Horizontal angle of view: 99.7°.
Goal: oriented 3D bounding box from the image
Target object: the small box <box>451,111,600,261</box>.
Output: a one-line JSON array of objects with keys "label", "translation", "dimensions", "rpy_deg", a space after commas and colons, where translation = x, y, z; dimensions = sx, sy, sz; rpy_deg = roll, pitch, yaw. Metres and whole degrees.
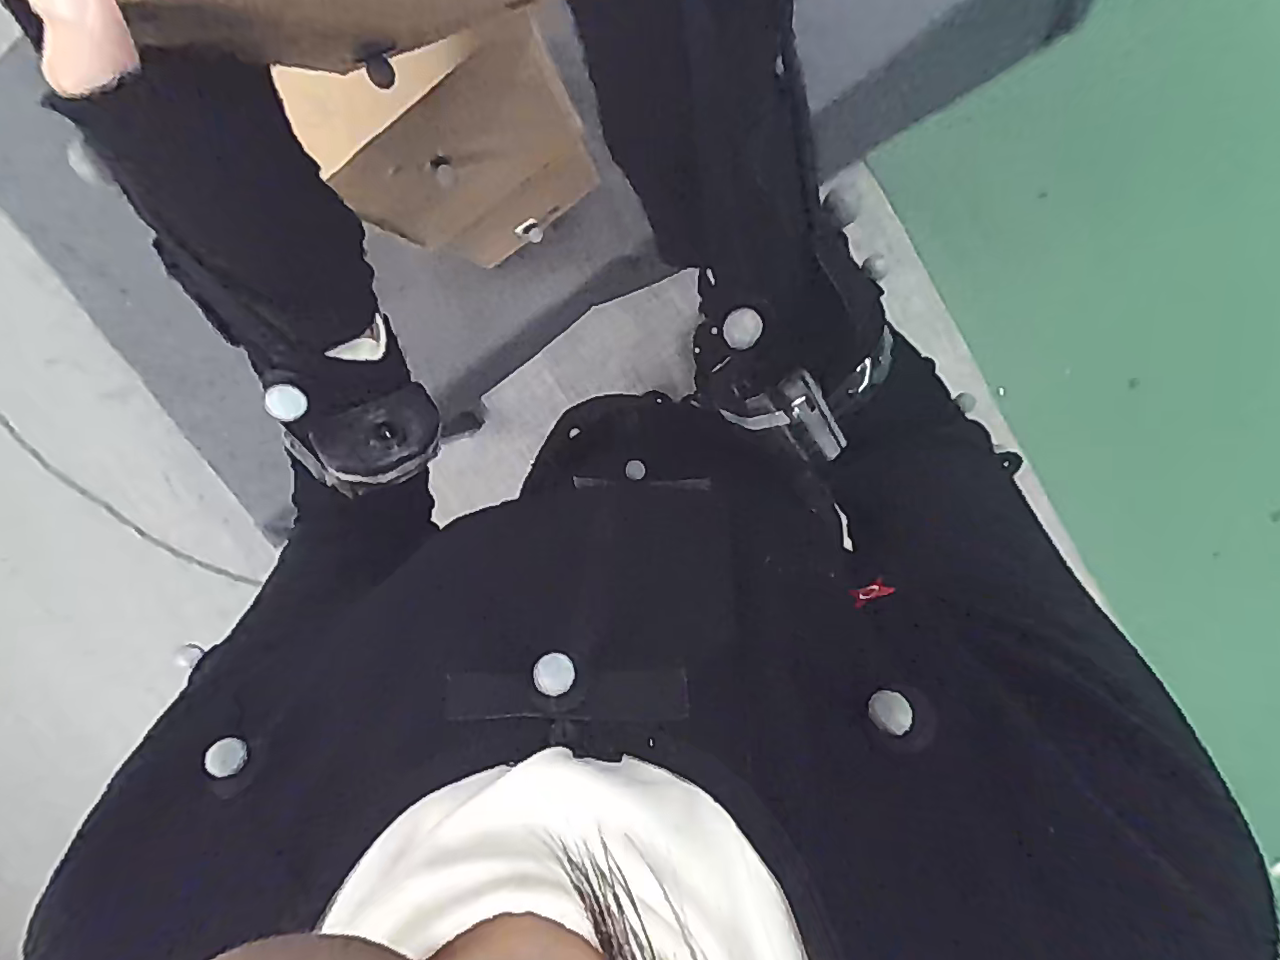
[{"label": "small box", "translation": [-0.163, -0.354, 0.550], "dimensions": [0.168, 0.176, 0.179], "rpy_deg": [-35, 97, 12]}]

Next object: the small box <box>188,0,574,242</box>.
[{"label": "small box", "translation": [-0.174, -0.309, 0.394], "dimensions": [0.179, 0.176, 0.168], "rpy_deg": [-35, 93, 11]}]

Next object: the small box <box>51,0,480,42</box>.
[{"label": "small box", "translation": [-0.097, -0.253, 0.151], "dimensions": [0.168, 0.176, 0.179], "rpy_deg": [-11, 122, 9]}]
